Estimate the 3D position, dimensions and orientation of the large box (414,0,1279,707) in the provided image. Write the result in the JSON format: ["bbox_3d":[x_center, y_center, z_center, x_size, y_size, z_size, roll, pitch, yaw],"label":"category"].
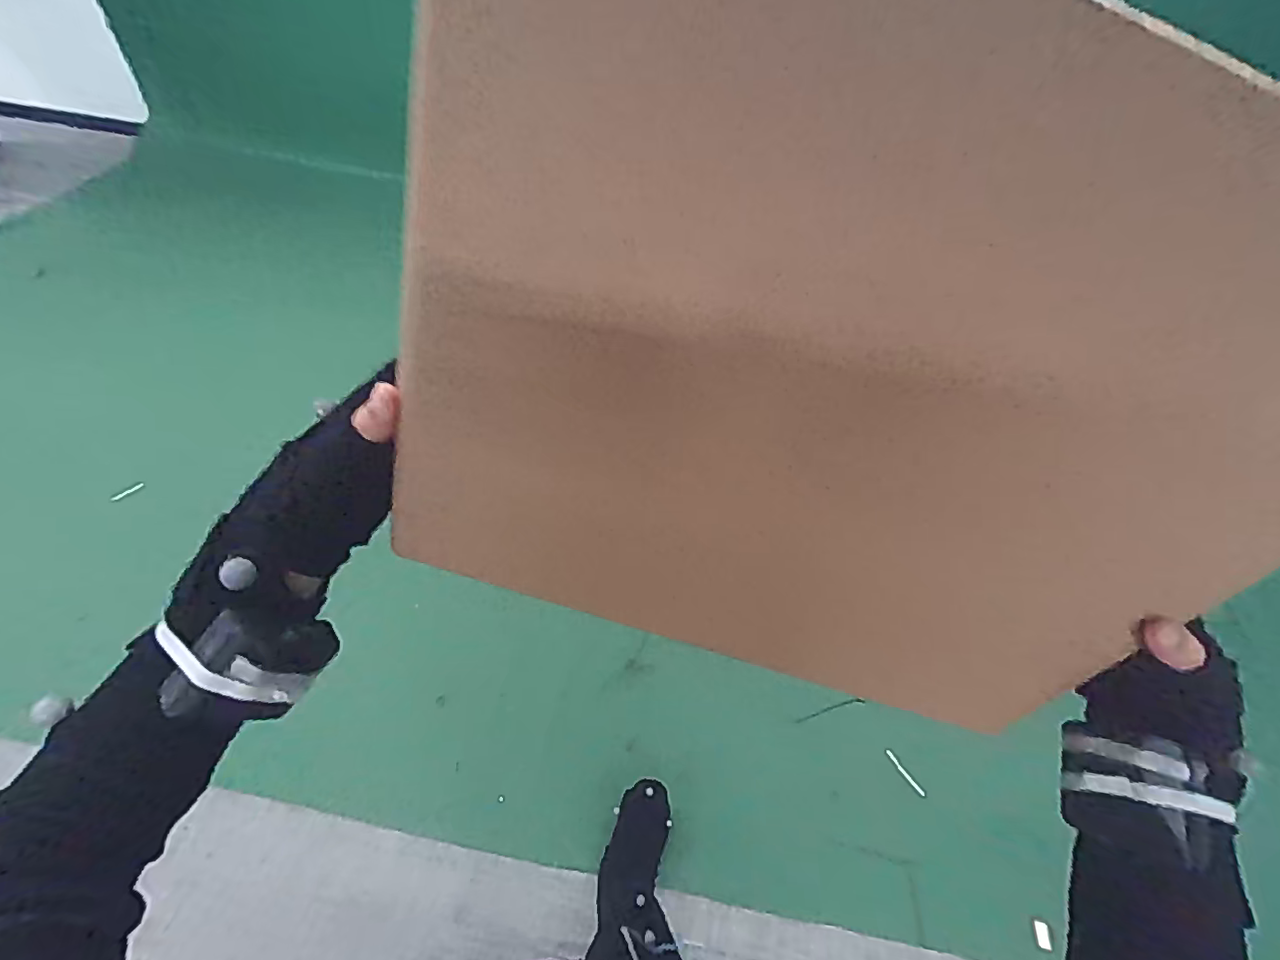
[{"bbox_3d":[0.113,-0.102,0.367,0.408,0.320,0.320,19,40,-7],"label":"large box"}]
